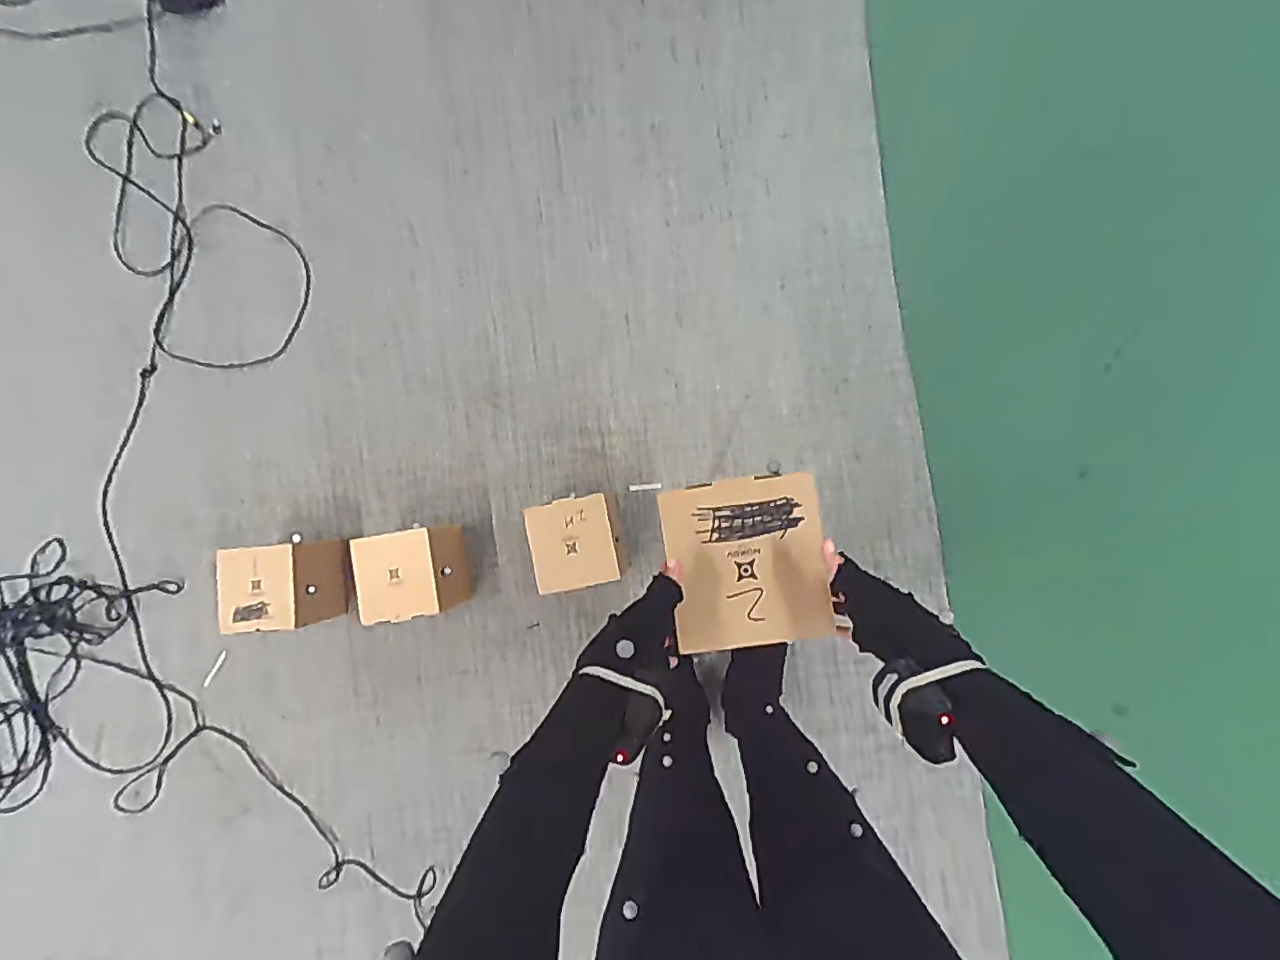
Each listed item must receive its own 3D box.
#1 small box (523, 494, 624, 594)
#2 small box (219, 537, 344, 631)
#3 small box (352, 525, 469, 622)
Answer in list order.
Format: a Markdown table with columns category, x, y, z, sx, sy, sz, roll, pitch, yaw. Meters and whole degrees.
| category | x | y | z | sx | sy | sz | roll | pitch | yaw |
| --- | --- | --- | --- | --- | --- | --- | --- | --- | --- |
| small box | -0.132 | 0.128 | 1.140 | 0.168 | 0.176 | 0.179 | -11 | 87 | 3 |
| small box | -0.774 | 0.220 | 1.182 | 0.168 | 0.176 | 0.179 | -5 | 86 | 4 |
| small box | -0.485 | 0.192 | 1.164 | 0.168 | 0.176 | 0.179 | -10 | 87 | 4 |
